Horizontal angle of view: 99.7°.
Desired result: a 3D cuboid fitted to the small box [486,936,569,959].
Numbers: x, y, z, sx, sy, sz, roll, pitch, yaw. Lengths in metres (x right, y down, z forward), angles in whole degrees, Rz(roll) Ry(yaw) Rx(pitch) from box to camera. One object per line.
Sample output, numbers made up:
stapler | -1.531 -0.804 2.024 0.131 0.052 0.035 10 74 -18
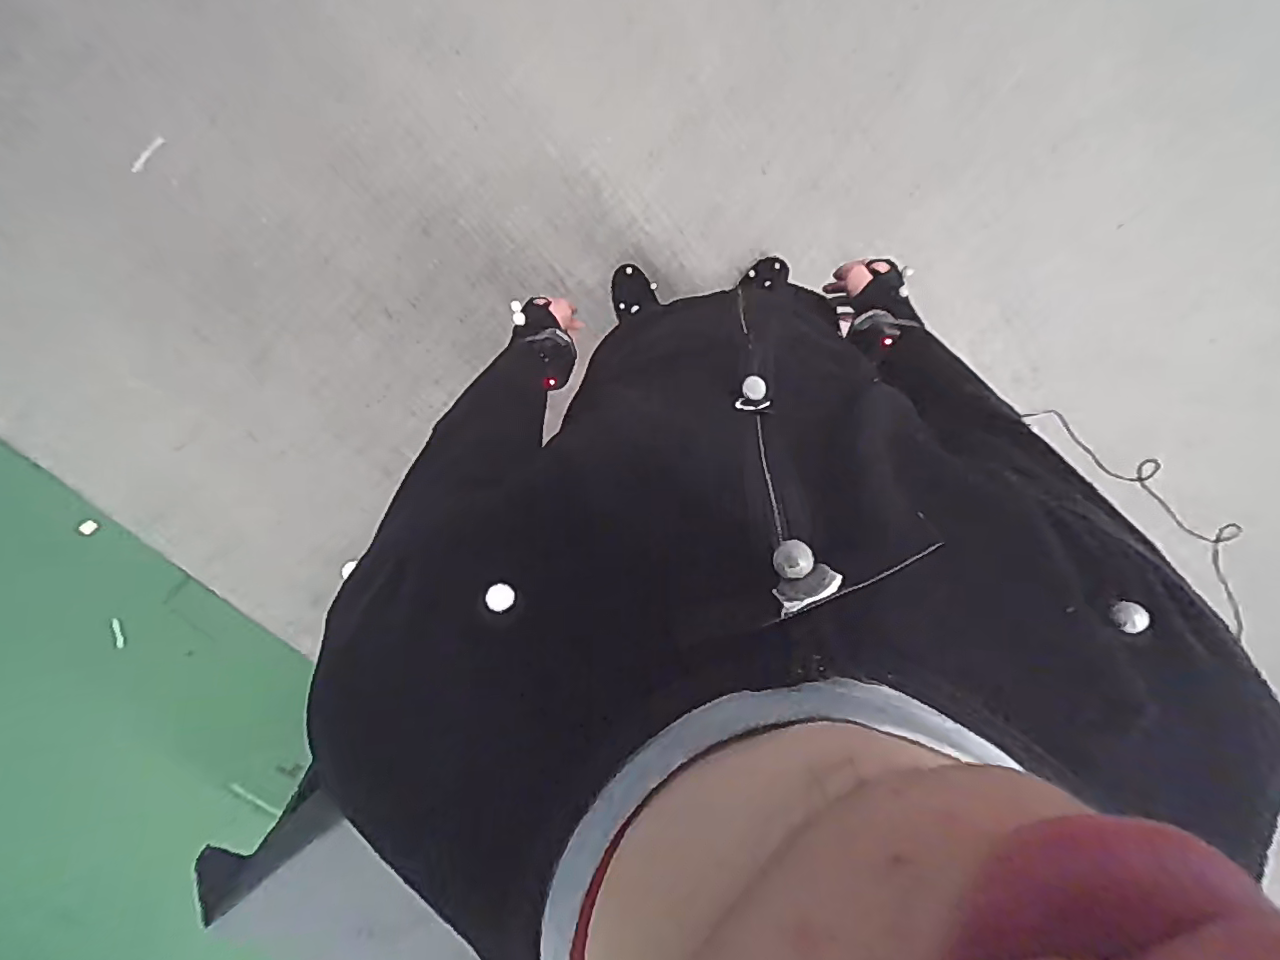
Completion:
small box | -0.266 1.196 1.238 0.179 0.176 0.168 -38 111 13
